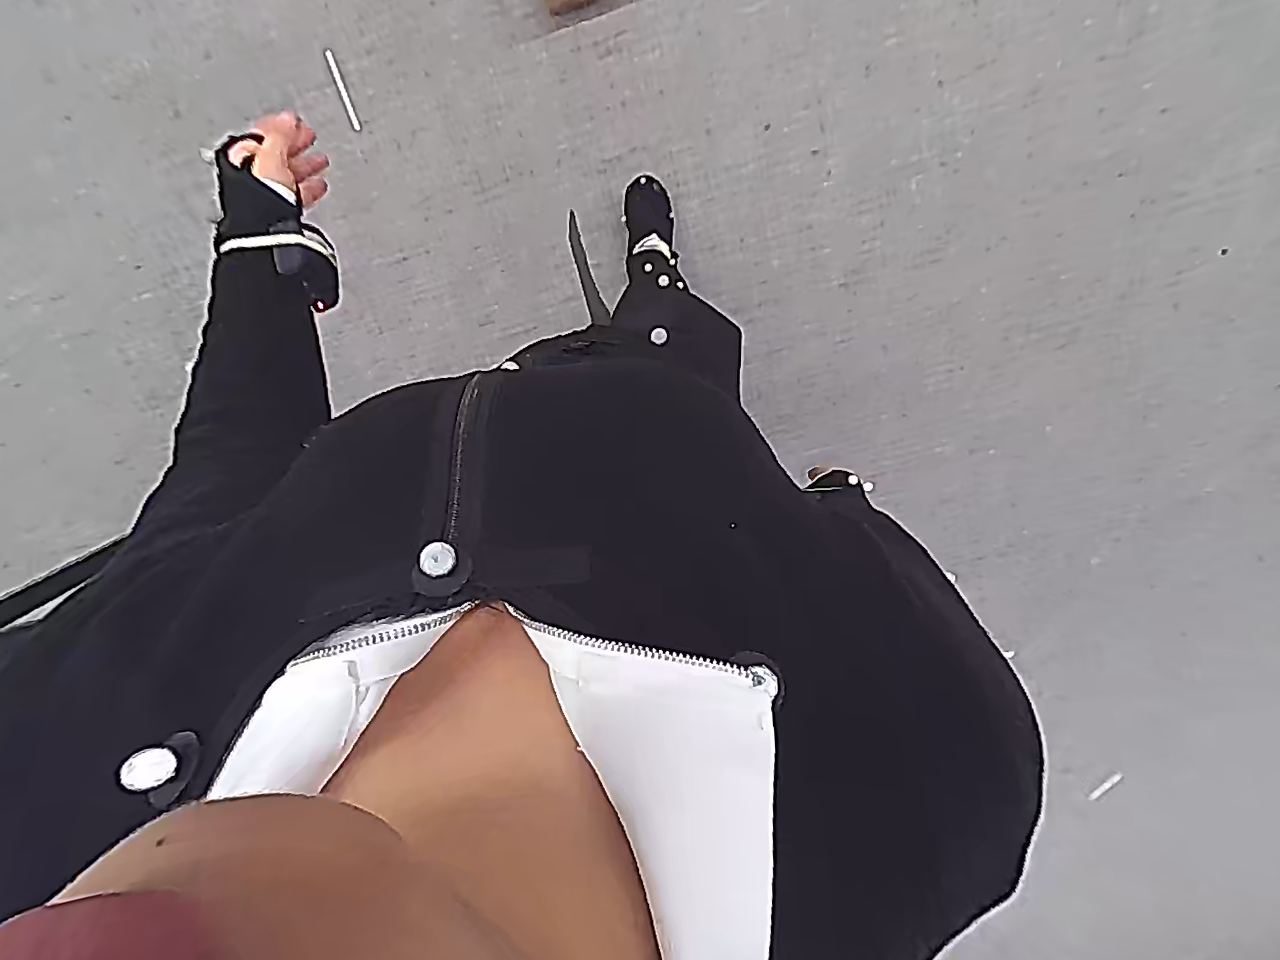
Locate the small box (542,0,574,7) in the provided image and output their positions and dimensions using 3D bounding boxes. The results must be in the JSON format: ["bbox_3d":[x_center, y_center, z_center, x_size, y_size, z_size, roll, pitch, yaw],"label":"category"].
[{"bbox_3d":[-0.143,-1.044,1.021,0.168,0.176,0.179,-17,111,6],"label":"small box"}]

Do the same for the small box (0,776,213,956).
[{"bbox_3d":[-0.871,0.631,0.894,0.168,0.176,0.179,-14,110,6],"label":"small box"}]
